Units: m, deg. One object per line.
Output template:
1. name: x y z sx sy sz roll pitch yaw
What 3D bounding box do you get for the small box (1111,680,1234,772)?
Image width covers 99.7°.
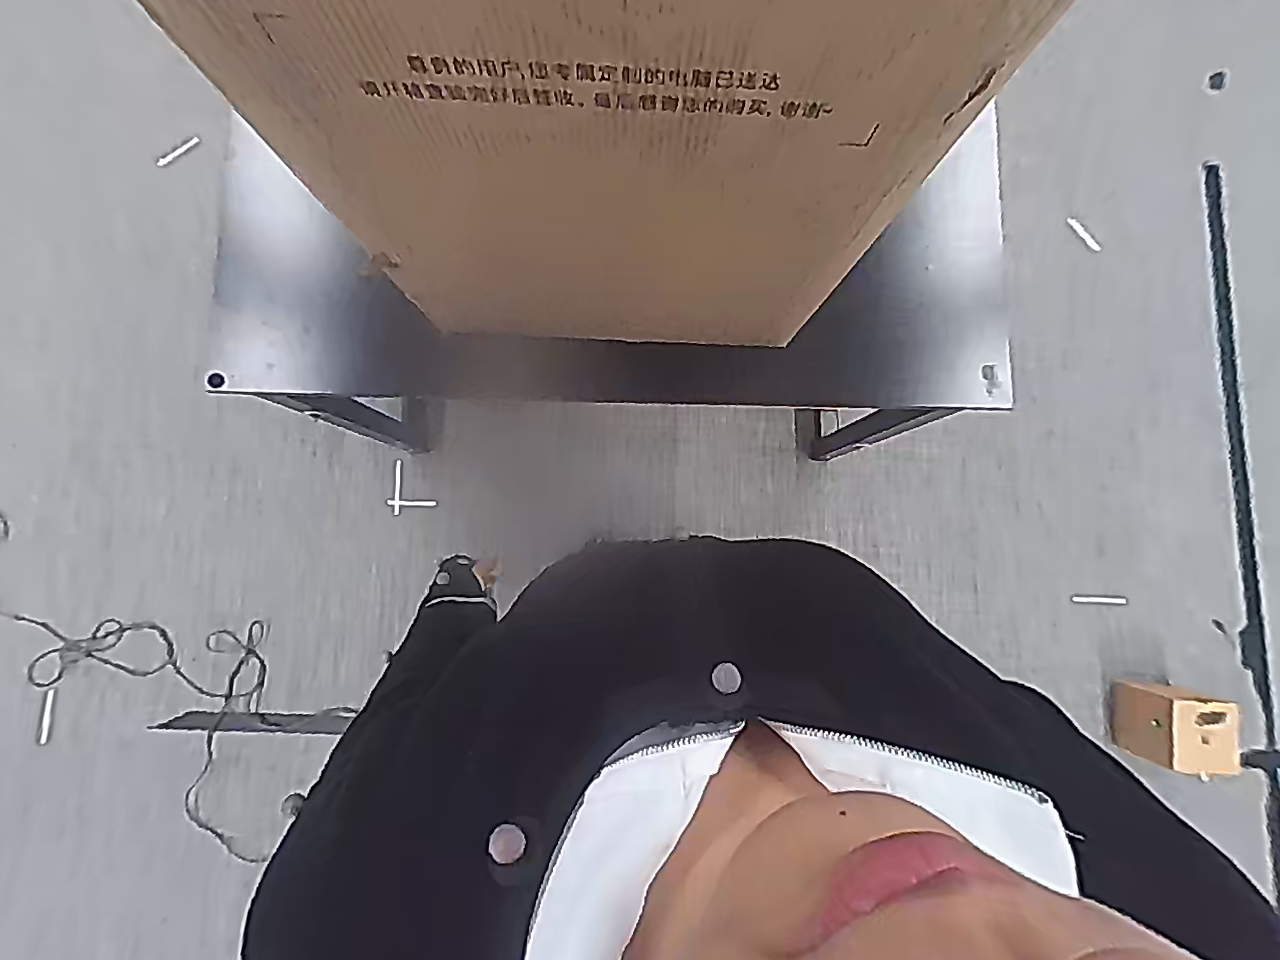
1. small box: 1.392 0.639 1.423 0.168 0.176 0.179 4 85 -1
